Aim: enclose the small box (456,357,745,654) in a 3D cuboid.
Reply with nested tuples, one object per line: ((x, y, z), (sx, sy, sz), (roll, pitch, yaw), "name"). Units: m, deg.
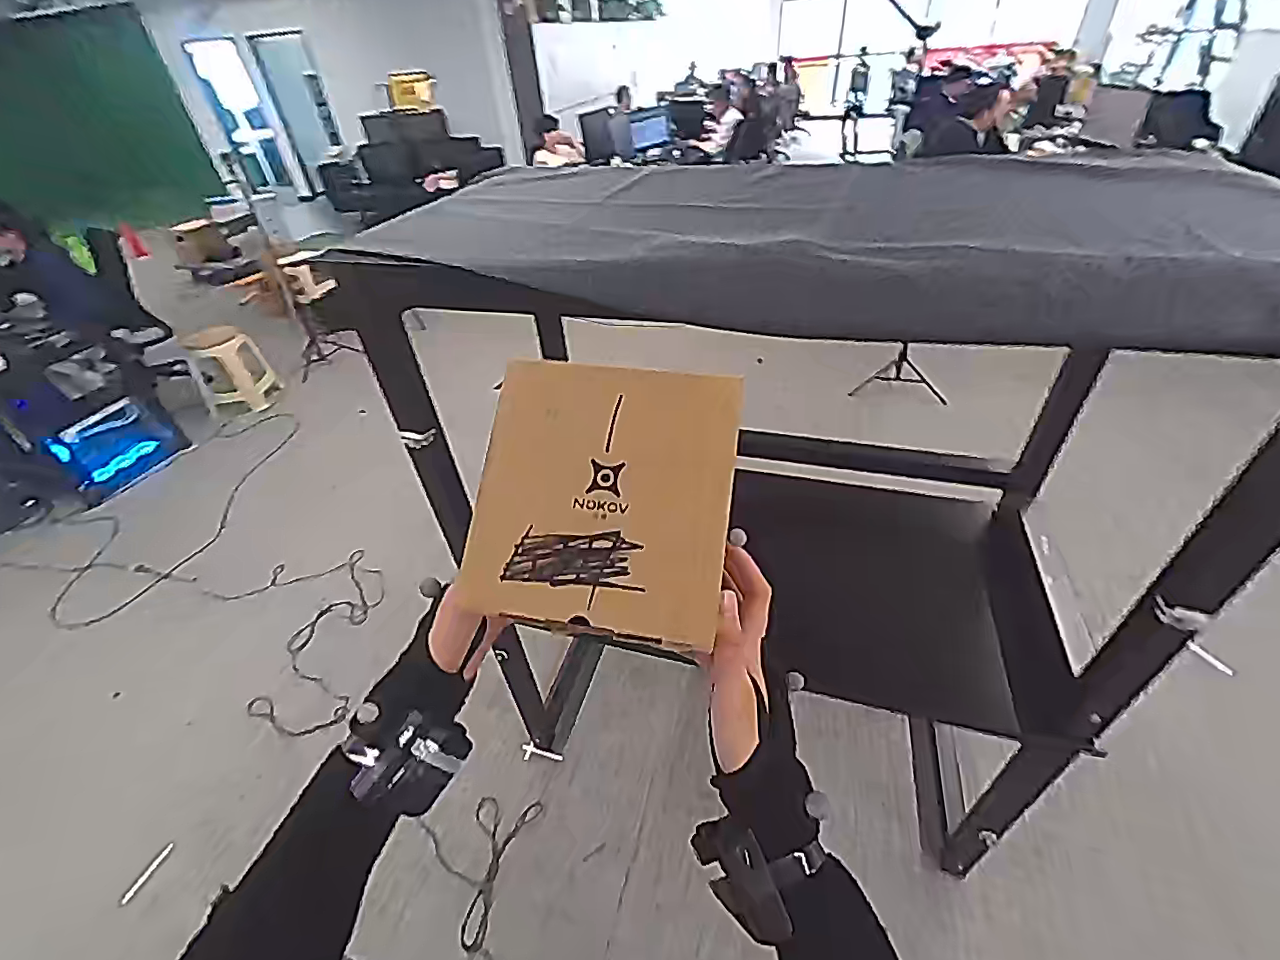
((-0.014, 0.026, 0.419), (0.168, 0.176, 0.179), (7, 77, 9), "small box")
